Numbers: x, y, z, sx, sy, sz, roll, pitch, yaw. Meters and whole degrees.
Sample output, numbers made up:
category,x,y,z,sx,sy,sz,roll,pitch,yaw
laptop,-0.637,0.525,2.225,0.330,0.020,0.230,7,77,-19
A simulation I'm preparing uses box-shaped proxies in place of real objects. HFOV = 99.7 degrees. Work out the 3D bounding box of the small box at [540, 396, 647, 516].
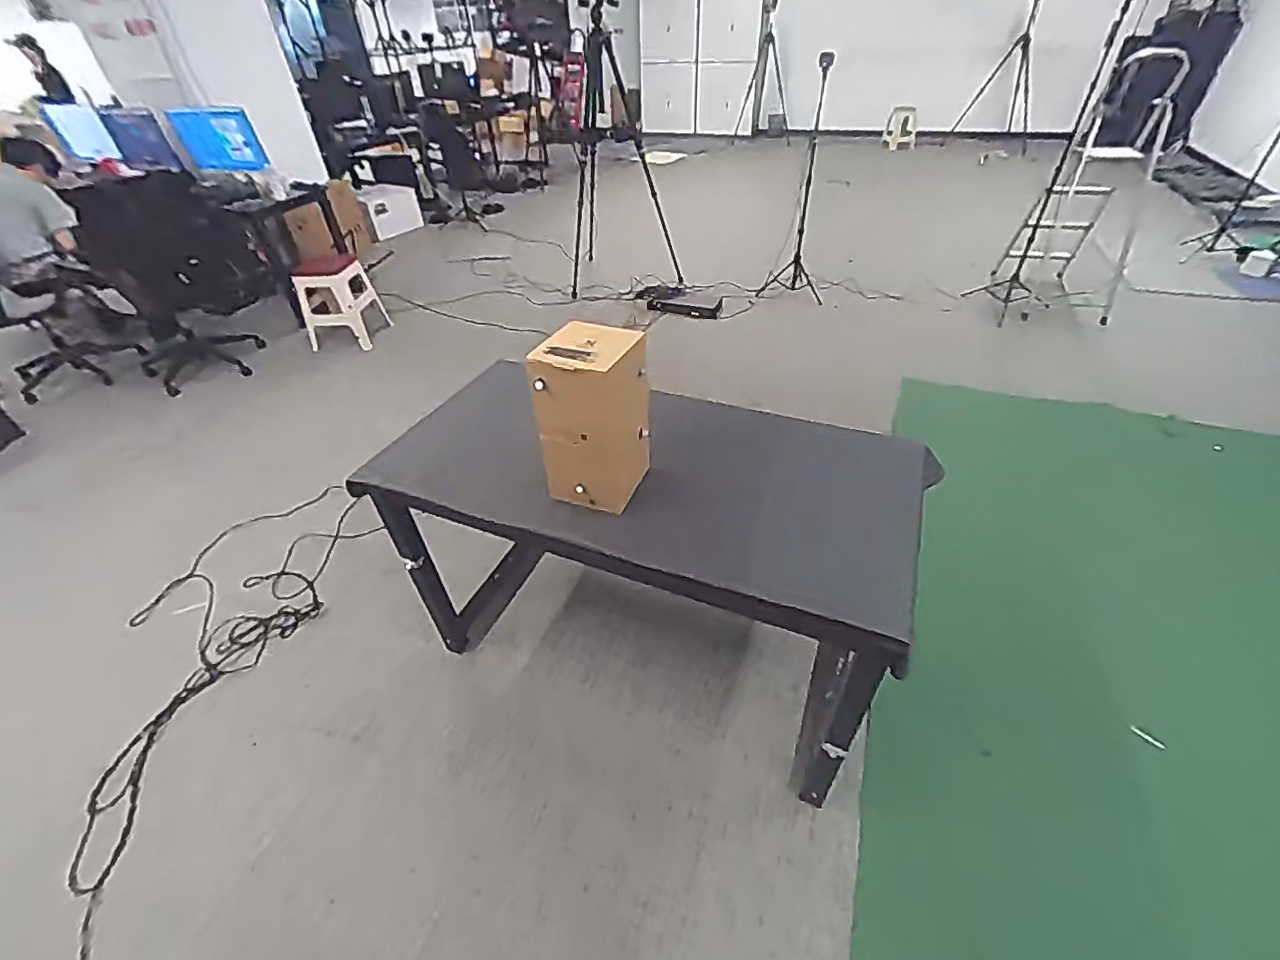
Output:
category,x,y,z,sx,sy,sz,roll,pitch,yaw
small box,-0.092,-0.053,1.156,0.168,0.176,0.179,13,42,18
